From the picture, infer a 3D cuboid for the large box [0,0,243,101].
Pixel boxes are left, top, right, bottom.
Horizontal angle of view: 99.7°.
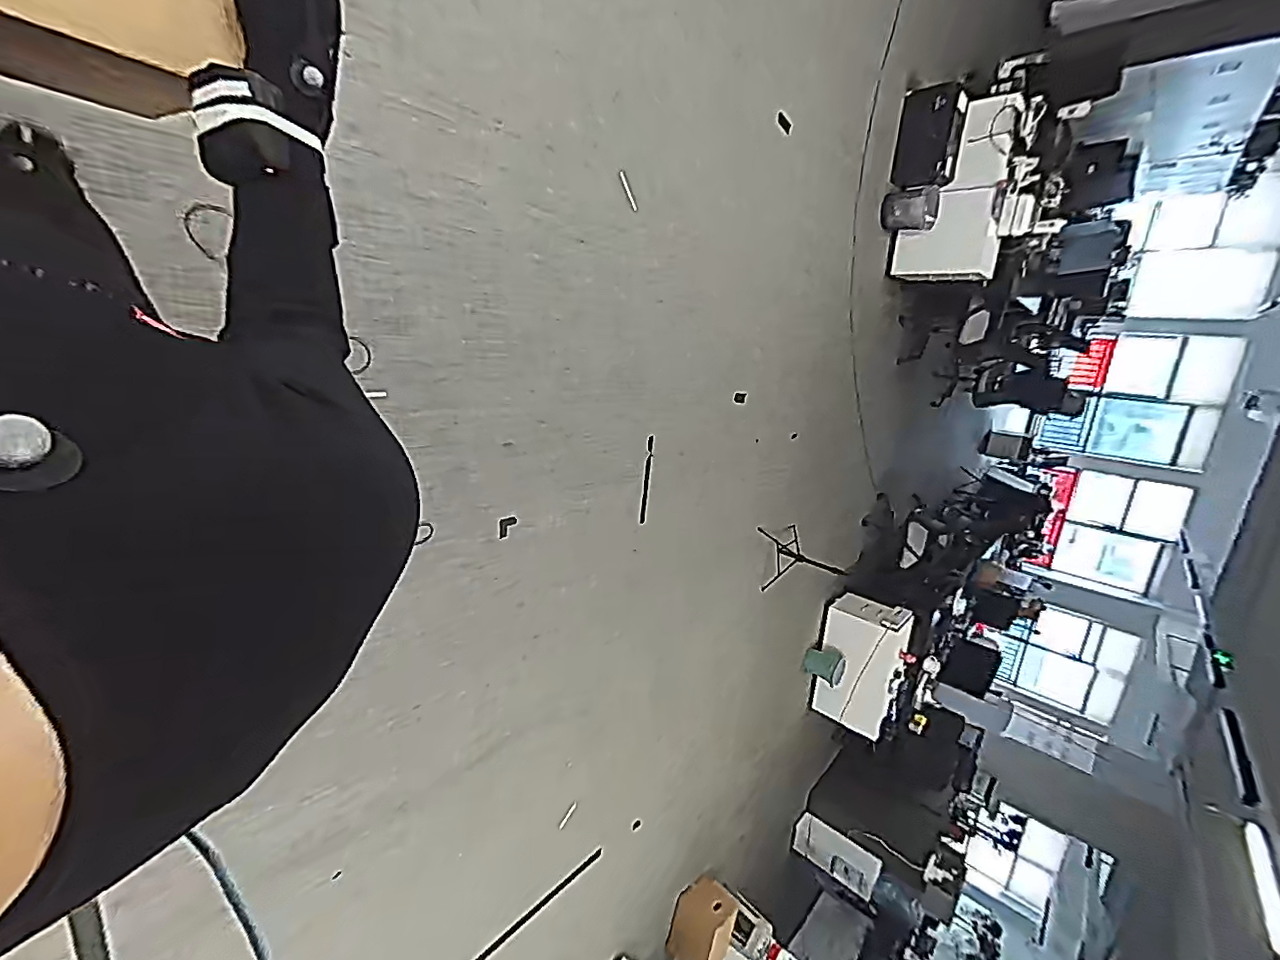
[{"bbox_3d":[-0.518,-0.473,0.302,0.408,0.320,0.320,-11,119,-50],"label":"large box"}]
